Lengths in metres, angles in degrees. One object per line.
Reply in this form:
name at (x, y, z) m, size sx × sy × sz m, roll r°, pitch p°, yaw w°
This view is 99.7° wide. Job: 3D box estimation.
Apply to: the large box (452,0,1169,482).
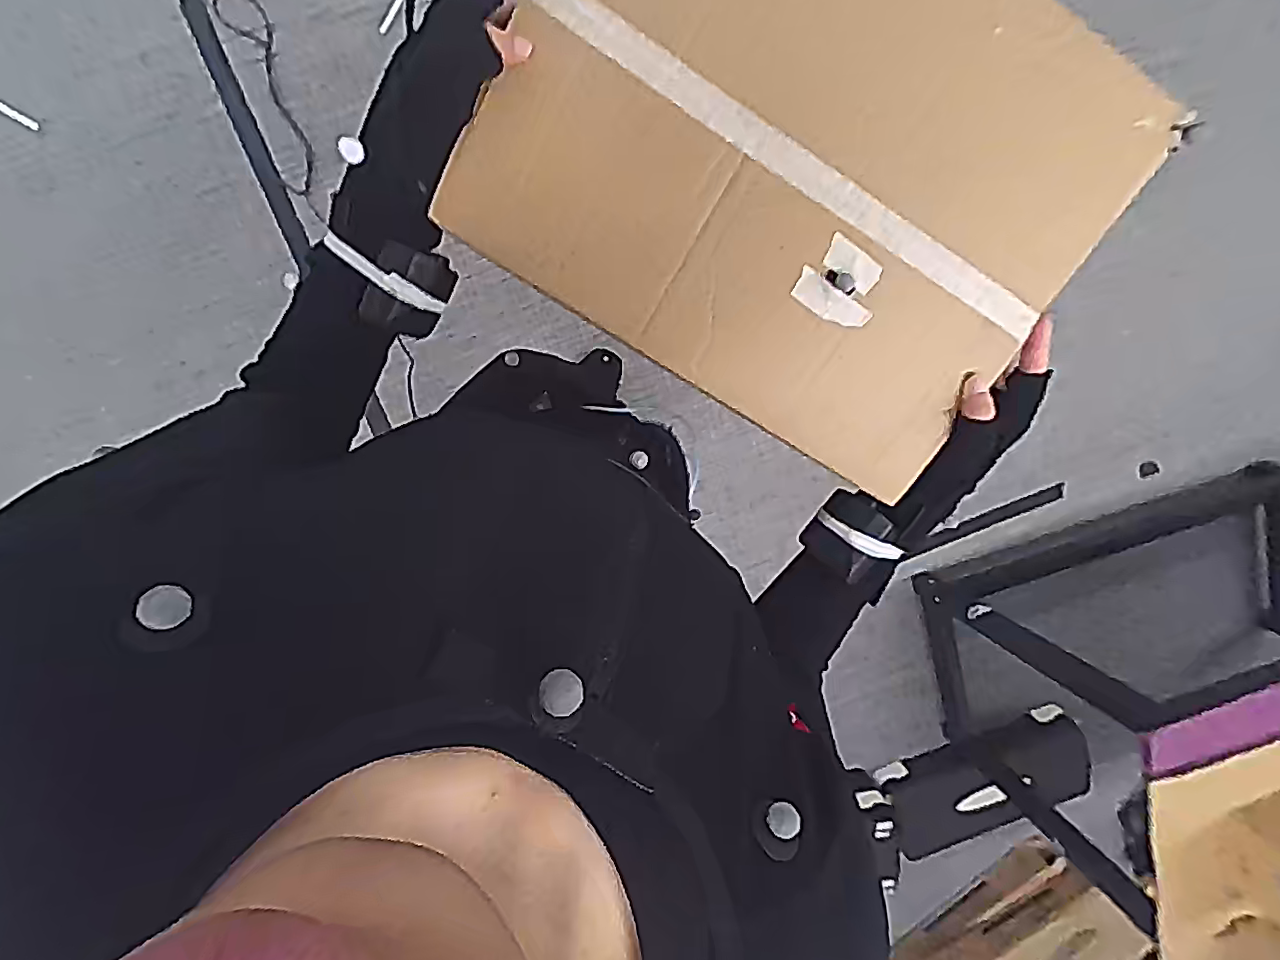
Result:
large box at (0.110, -0.260, 0.514) m, size 0.408 × 0.320 × 0.320 m, roll 30°, pitch 106°, yaw -9°
